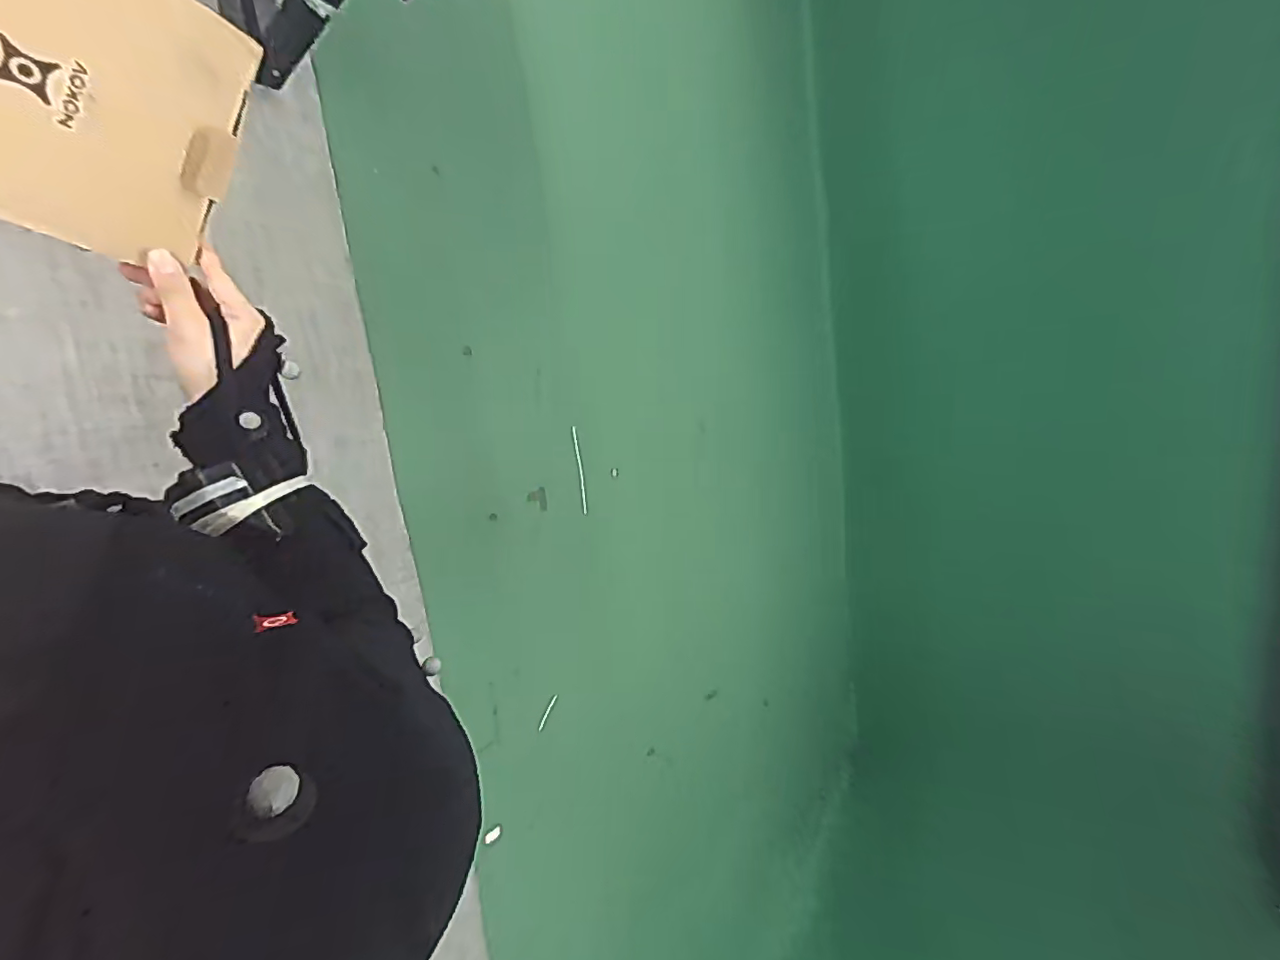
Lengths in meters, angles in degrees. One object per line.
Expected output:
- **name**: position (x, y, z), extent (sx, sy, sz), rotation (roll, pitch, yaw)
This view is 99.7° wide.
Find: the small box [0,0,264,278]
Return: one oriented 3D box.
- **small box**: position (-0.381, -0.258, 0.337), extent (0.179, 0.176, 0.168), rotation (13, 107, -53)
